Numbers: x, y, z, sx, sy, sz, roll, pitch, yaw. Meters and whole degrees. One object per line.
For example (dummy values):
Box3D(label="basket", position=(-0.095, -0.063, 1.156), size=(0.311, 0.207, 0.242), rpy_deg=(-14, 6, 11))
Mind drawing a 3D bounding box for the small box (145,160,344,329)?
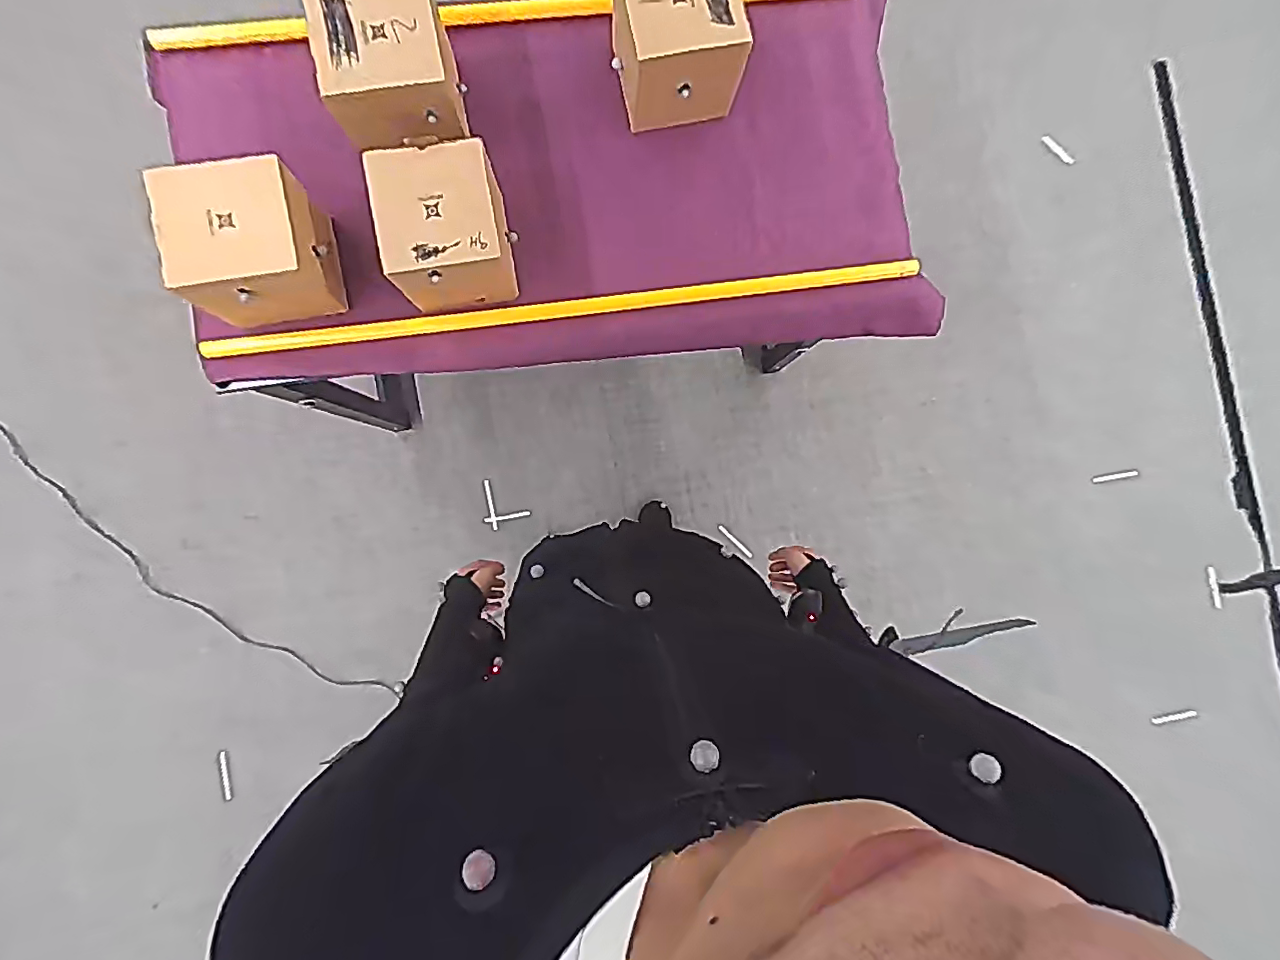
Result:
Box3D(label="small box", position=(-0.571, -0.340, 0.809), size=(0.179, 0.176, 0.168), rpy_deg=(-11, 89, -5))

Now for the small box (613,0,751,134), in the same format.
Box3D(label="small box", position=(0.058, -0.693, 0.860), size=(0.179, 0.176, 0.168), rpy_deg=(-12, 90, -3))

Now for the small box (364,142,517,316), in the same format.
Box3D(label="small box", position=(-0.294, -0.374, 0.829), size=(0.168, 0.176, 0.179), rpy_deg=(-10, 89, -3))
